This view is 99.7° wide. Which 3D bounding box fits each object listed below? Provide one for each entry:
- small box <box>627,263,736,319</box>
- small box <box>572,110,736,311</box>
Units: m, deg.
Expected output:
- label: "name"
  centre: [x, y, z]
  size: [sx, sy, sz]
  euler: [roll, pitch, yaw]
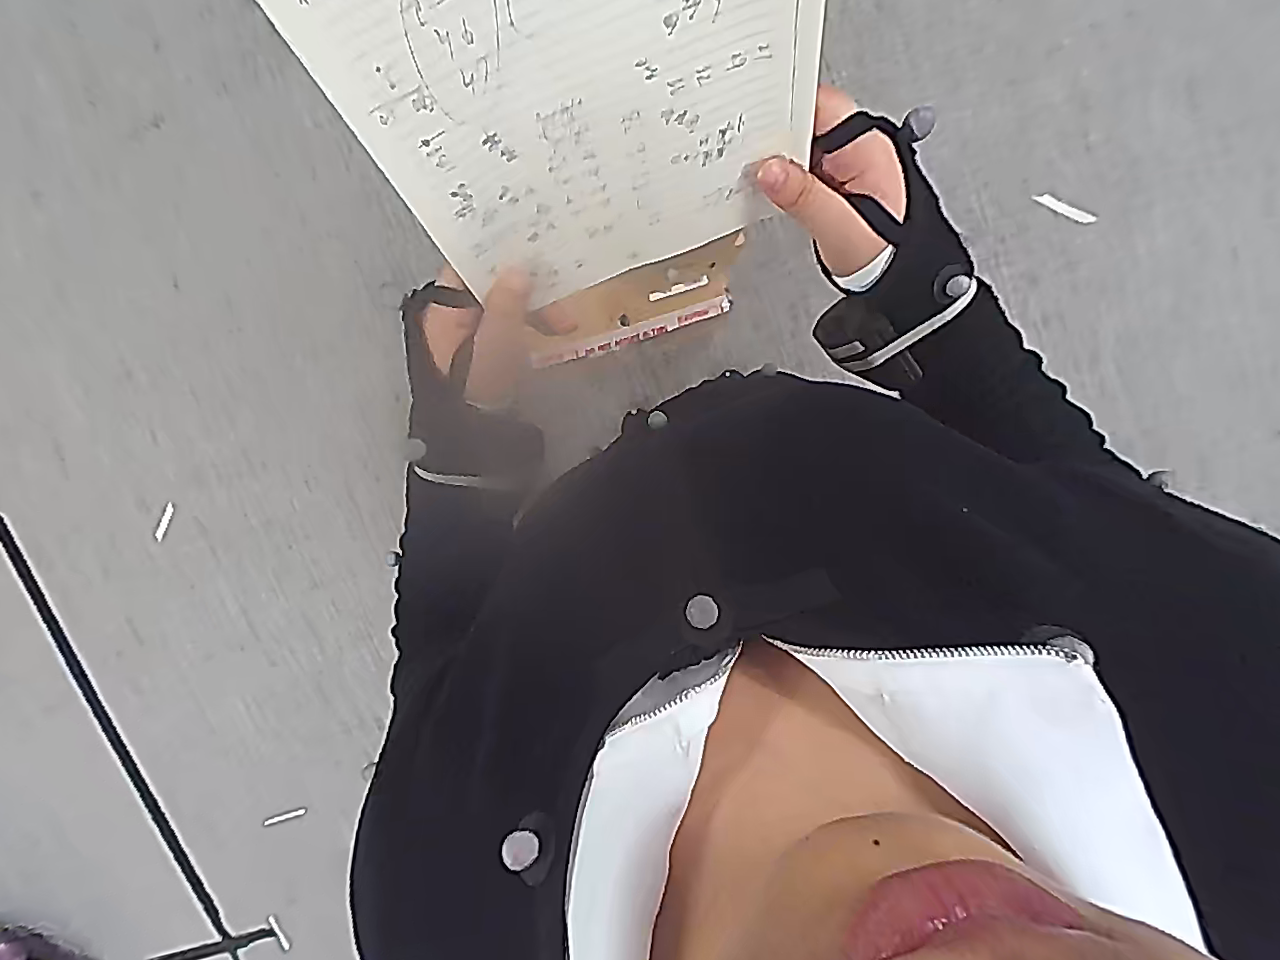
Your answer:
- label: "small box"
  centre: [0.039, -0.374, 0.878]
  size: [0.179, 0.176, 0.168]
  euler: [-18, 98, 5]
- label: "small box"
  centre: [0.018, -0.339, 0.717]
  size: [0.168, 0.176, 0.179]
  euler: [-14, 100, 3]
